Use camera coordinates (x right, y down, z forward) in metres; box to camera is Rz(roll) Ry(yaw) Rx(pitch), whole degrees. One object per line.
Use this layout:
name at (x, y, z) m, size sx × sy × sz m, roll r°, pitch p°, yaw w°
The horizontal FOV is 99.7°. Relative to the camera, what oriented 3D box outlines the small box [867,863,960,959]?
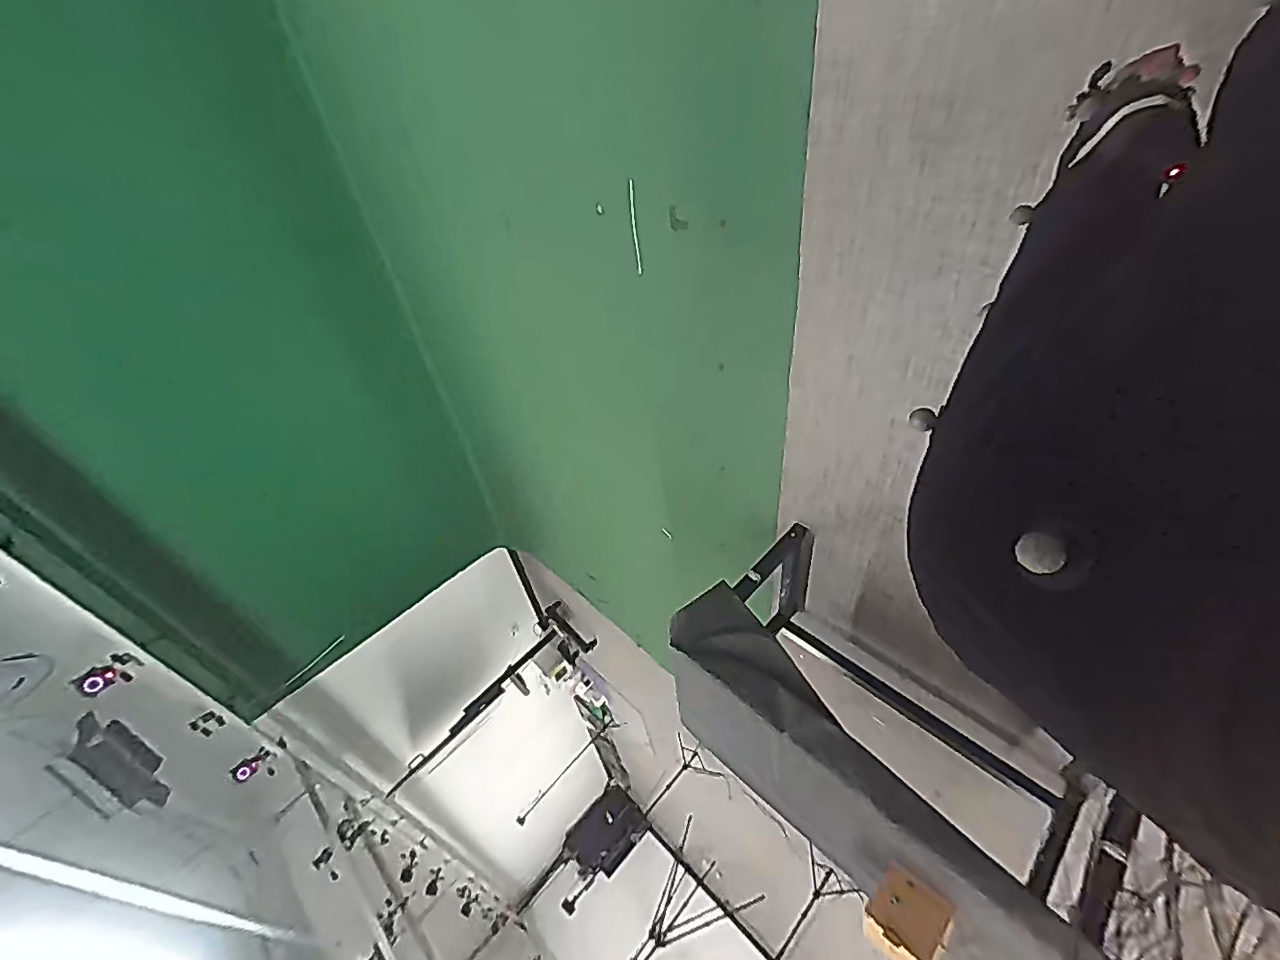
small box at (0.716, 1.160, 1.419) m, size 0.168 × 0.176 × 0.179 m, roll 24°, pitch 142°, yaw 46°
